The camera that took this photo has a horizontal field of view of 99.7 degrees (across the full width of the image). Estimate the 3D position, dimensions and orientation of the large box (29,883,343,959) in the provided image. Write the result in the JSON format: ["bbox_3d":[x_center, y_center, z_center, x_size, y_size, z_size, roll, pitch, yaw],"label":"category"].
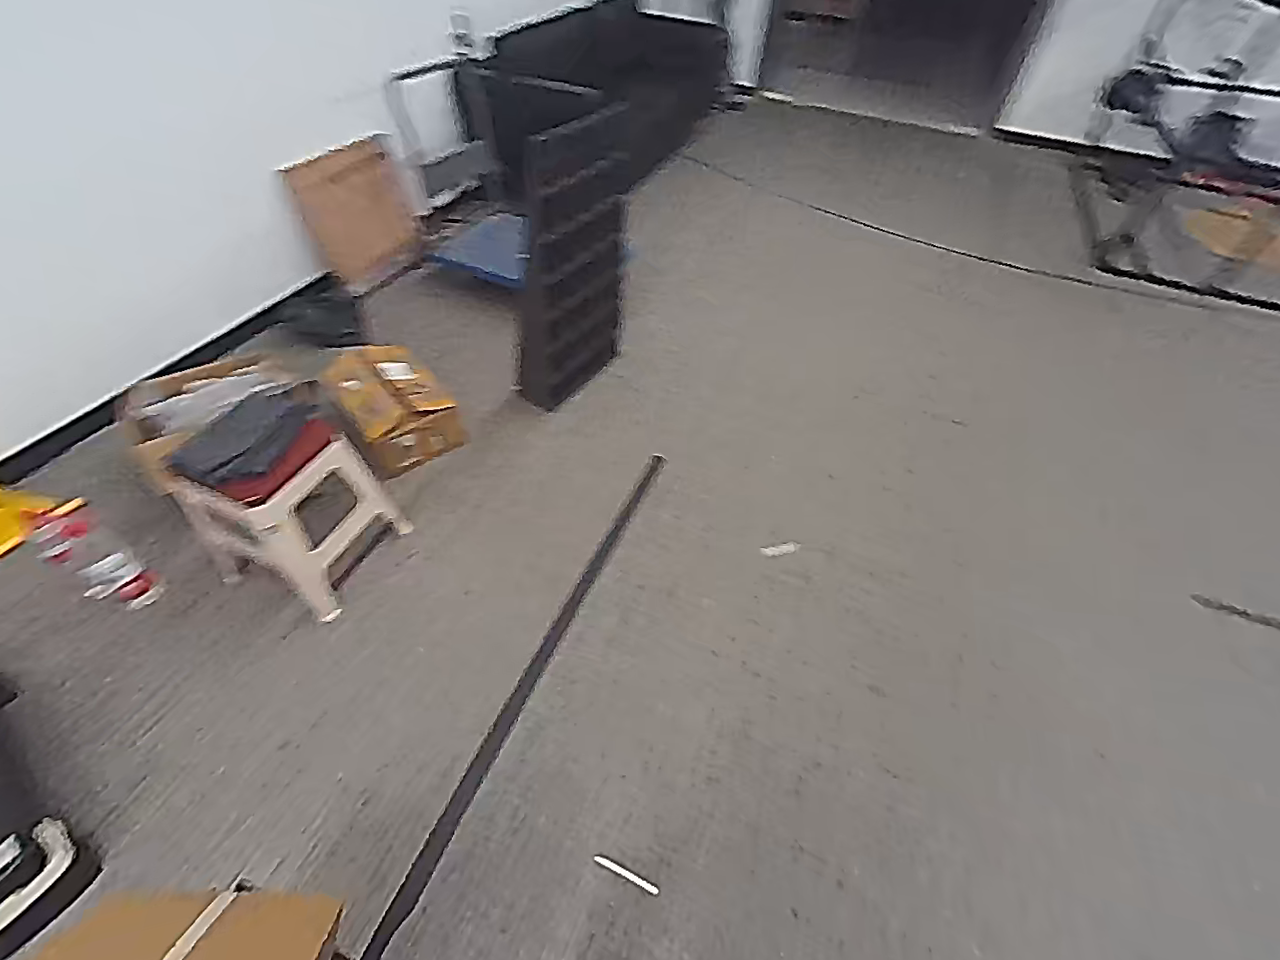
[{"bbox_3d":[-0.577,0.723,0.587,0.320,0.408,0.320,12,77,-12],"label":"large box"}]
